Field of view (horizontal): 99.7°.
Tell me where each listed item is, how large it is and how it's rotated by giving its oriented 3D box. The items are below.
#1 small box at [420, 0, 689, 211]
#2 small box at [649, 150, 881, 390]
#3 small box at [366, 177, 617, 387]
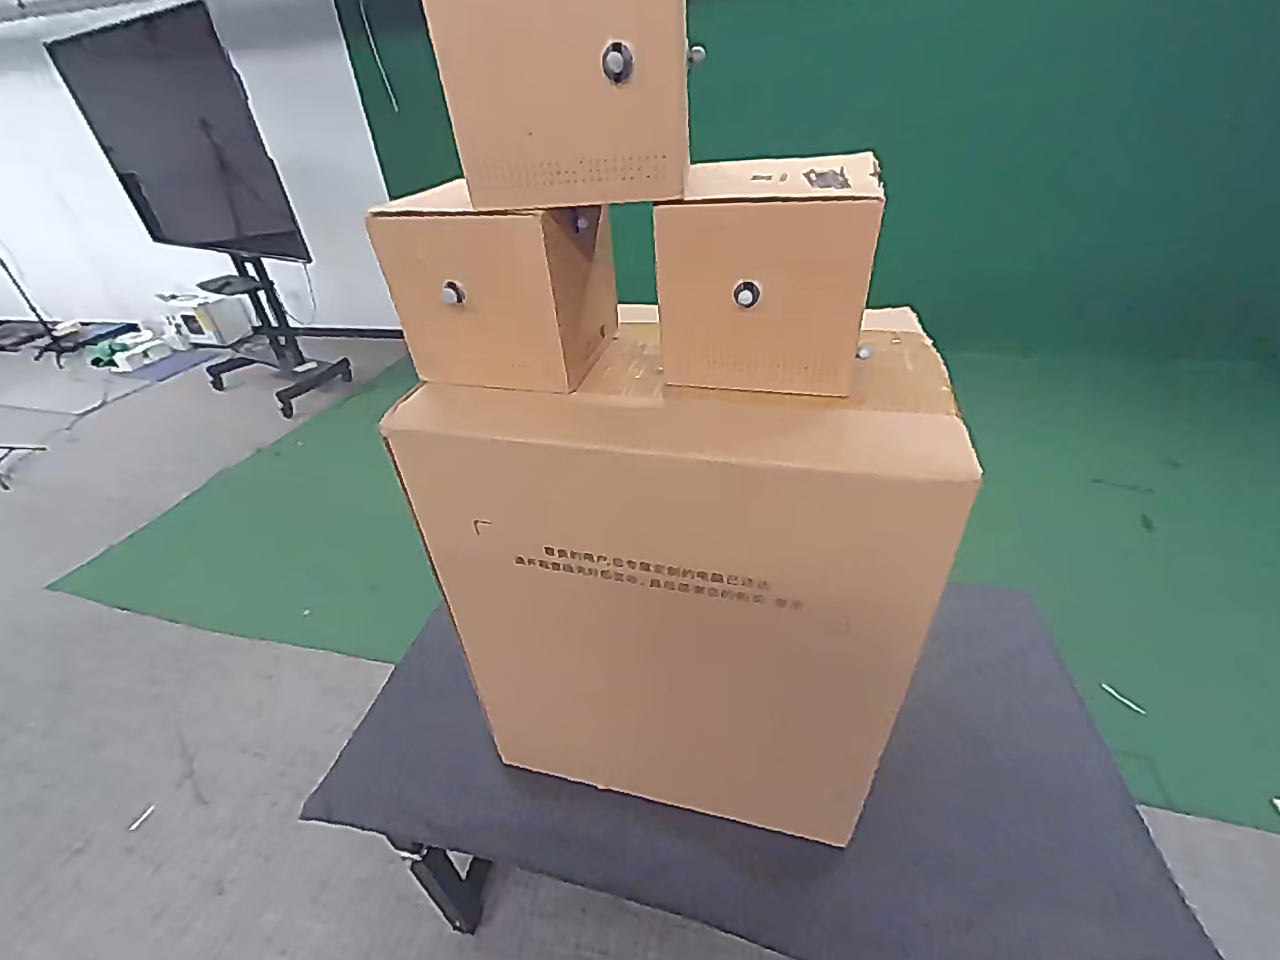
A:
[{"bbox_3d":[-0.050,-0.332,0.444,0.179,0.176,0.168,-1,38,8],"label":"small box"},{"bbox_3d":[0.119,-0.200,0.517,0.179,0.176,0.168,6,41,16],"label":"small box"},{"bbox_3d":[-0.135,-0.211,0.565,0.179,0.176,0.168,7,41,15],"label":"small box"}]
